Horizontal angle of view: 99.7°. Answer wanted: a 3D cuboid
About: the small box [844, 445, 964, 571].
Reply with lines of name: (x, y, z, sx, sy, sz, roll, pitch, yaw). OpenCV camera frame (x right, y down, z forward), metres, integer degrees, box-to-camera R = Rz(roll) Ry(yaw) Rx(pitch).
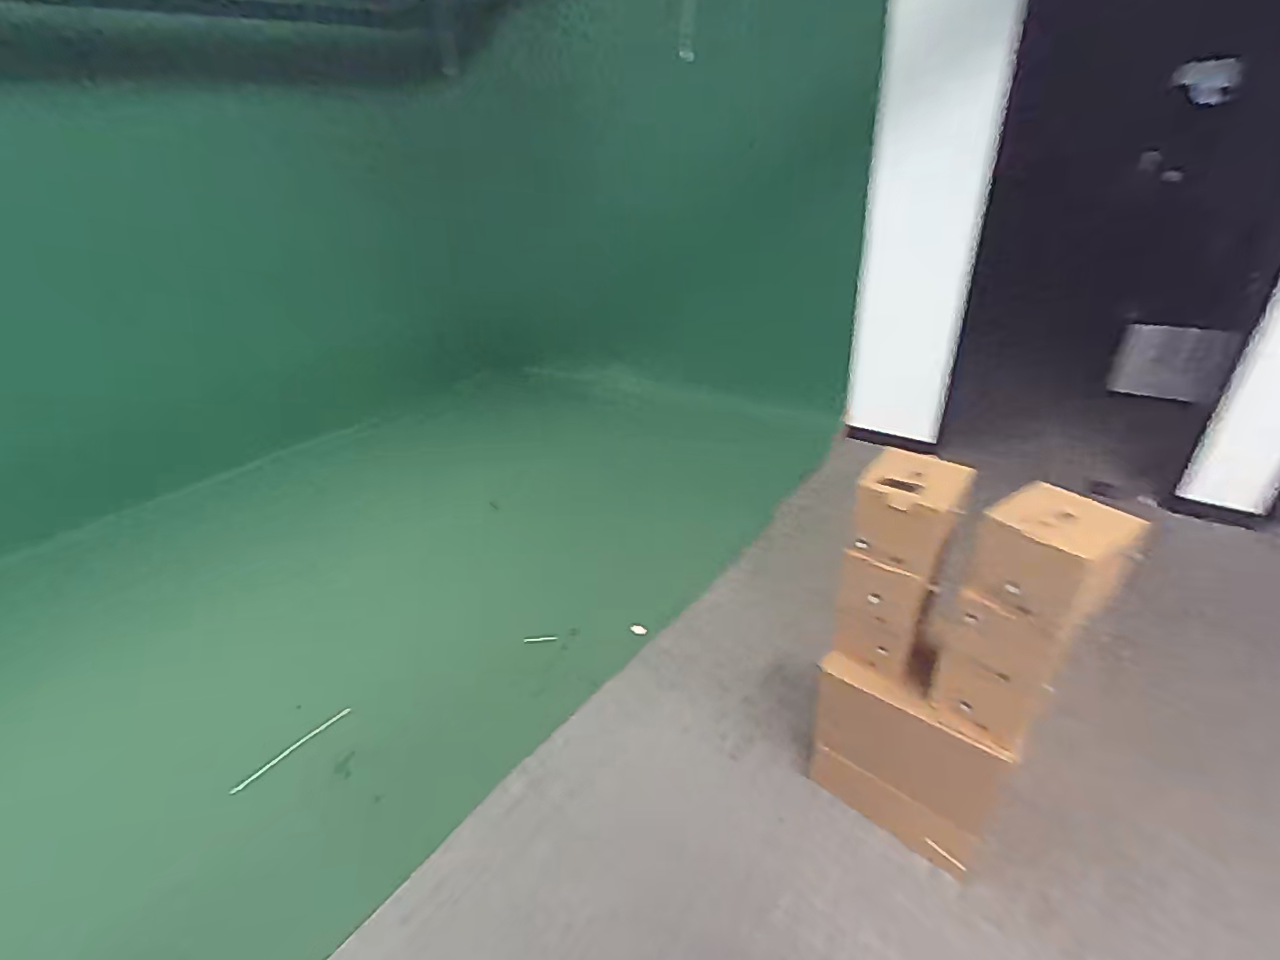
small box: (0.534, 0.056, 1.107, 0.168, 0.176, 0.179, 22, 41, 35)

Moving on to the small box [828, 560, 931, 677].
small box: (0.564, 0.329, 1.288, 0.168, 0.176, 0.179, 23, 43, 36)

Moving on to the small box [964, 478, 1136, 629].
small box: (0.709, 0.125, 0.956, 0.179, 0.176, 0.168, -22, 34, -23)

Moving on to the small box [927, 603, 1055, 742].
small box: (0.729, 0.401, 1.136, 0.179, 0.176, 0.168, -30, 38, -32)
